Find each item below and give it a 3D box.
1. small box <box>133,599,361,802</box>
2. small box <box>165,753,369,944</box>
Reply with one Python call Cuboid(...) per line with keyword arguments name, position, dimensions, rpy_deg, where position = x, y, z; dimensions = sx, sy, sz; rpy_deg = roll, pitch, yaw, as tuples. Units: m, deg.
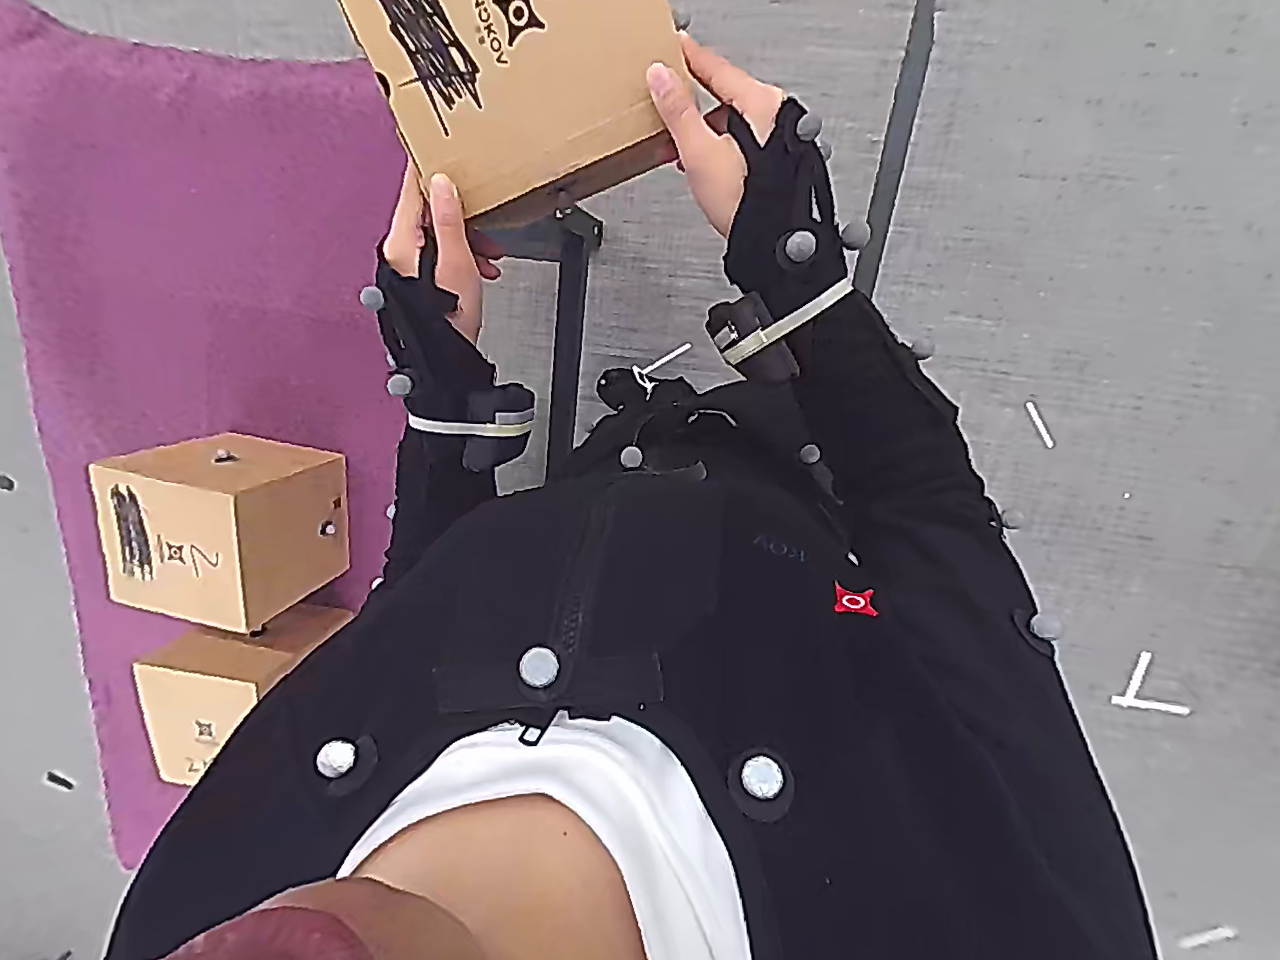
Cuboid(name="small box", position=(-0.502, 0.278, 0.718), dimensions=(0.168, 0.176, 0.179), rpy_deg=(5, 107, 9))
Cuboid(name="small box", position=(-0.526, 0.522, 0.795), dimensions=(0.179, 0.176, 0.168), rpy_deg=(2, 106, 10))
